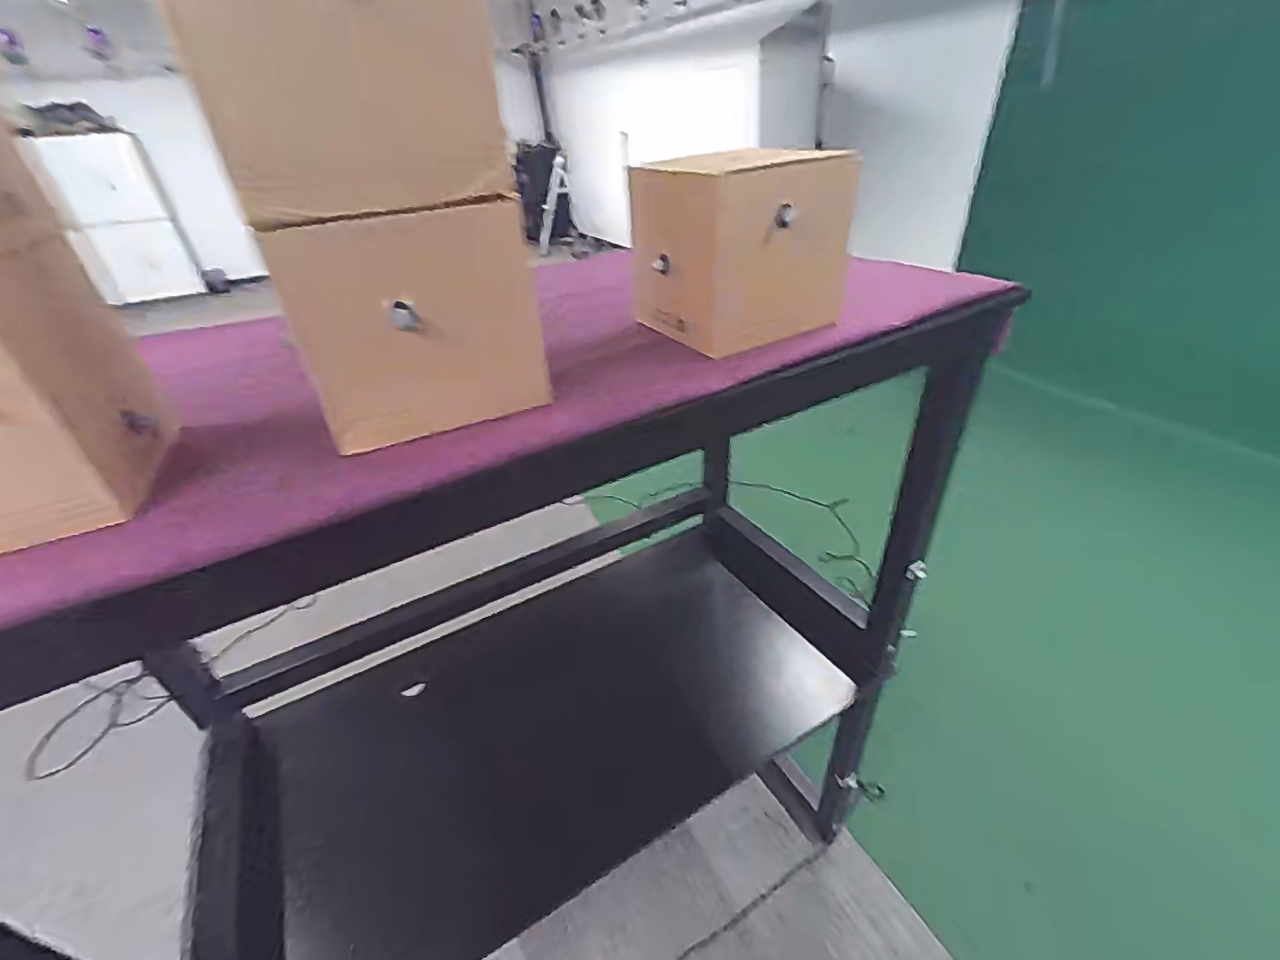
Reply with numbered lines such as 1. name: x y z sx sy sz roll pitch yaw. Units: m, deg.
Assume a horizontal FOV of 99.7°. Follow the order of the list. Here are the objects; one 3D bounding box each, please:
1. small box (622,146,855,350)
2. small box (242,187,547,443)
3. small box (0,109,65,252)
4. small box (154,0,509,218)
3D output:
1. small box: 0.100 -0.254 0.585 0.179 0.176 0.168 -21 38 -22
2. small box: -0.198 -0.150 0.469 0.179 0.176 0.168 -19 36 -20
3. small box: -0.482 -0.197 0.278 0.179 0.176 0.168 -17 34 -20
4. small box: -0.208 -0.288 0.381 0.179 0.176 0.168 -17 35 -19
